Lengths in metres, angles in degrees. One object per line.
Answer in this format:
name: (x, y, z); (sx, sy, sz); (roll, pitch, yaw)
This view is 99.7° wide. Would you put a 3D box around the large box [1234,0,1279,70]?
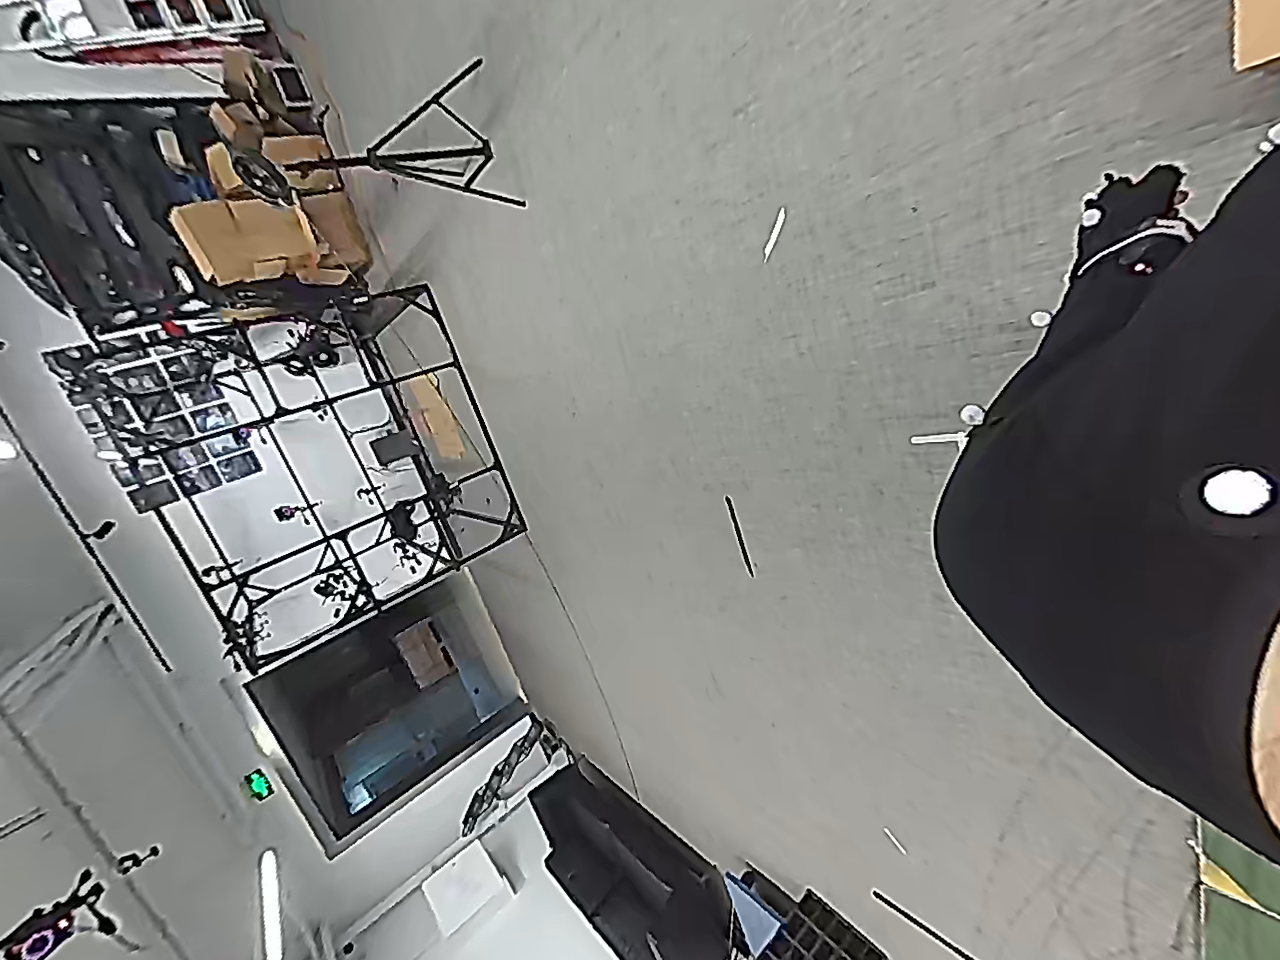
large box: (0.985, -0.750, 0.614); (0.408, 0.320, 0.320); (3, 116, 53)
